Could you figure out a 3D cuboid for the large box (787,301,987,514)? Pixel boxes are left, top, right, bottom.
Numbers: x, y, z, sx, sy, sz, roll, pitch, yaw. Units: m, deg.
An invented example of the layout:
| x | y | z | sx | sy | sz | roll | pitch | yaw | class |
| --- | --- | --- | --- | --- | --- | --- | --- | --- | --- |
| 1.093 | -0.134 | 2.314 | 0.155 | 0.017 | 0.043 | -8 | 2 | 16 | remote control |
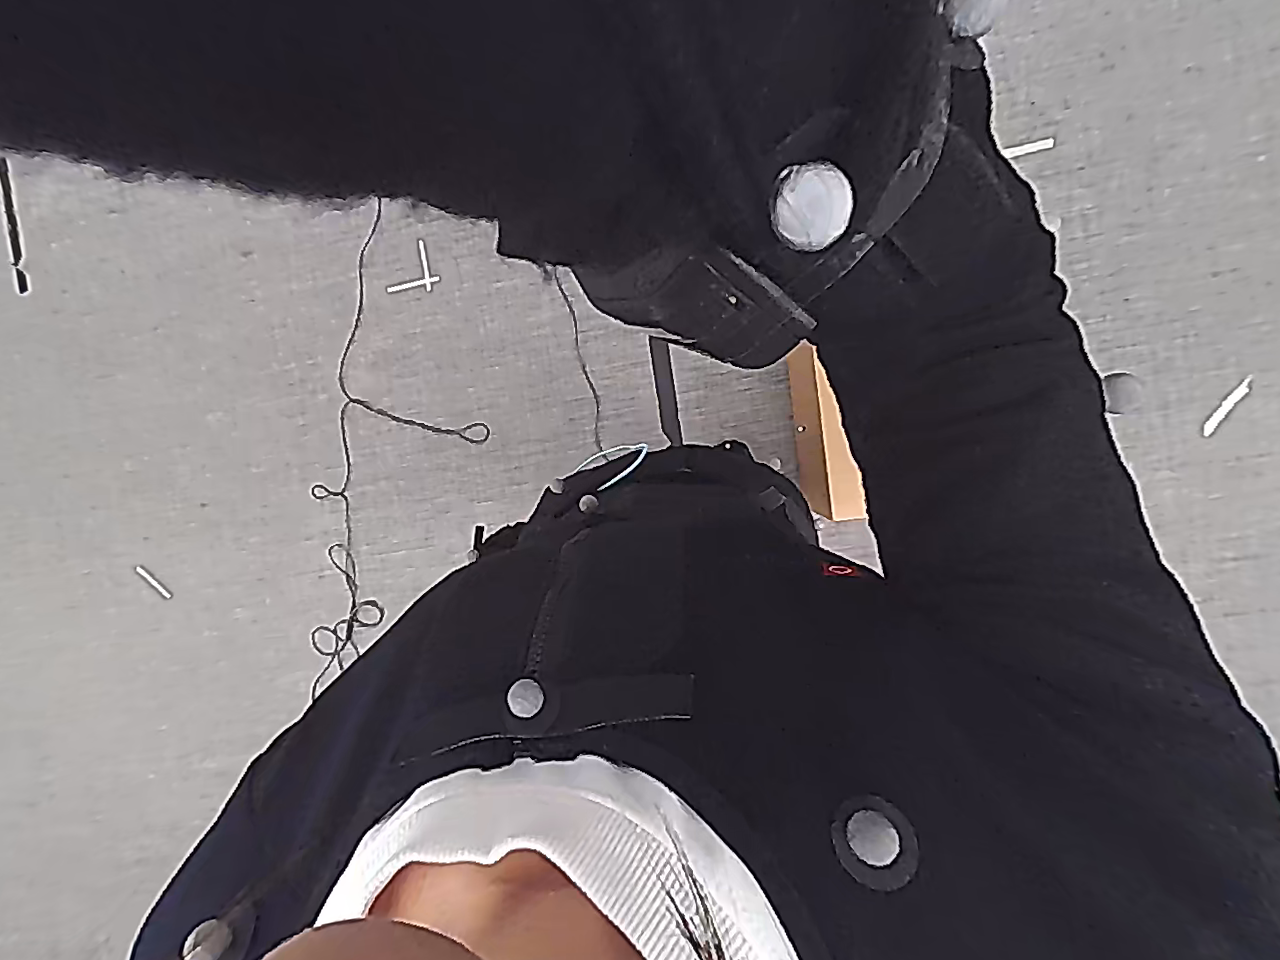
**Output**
| x | y | z | sx | sy | sz | roll | pitch | yaw | class |
| --- | --- | --- | --- | --- | --- | --- | --- | --- | --- |
| 0.540 | -0.148 | 1.251 | 0.320 | 0.320 | 0.408 | -7 | 91 | 5 | large box |
